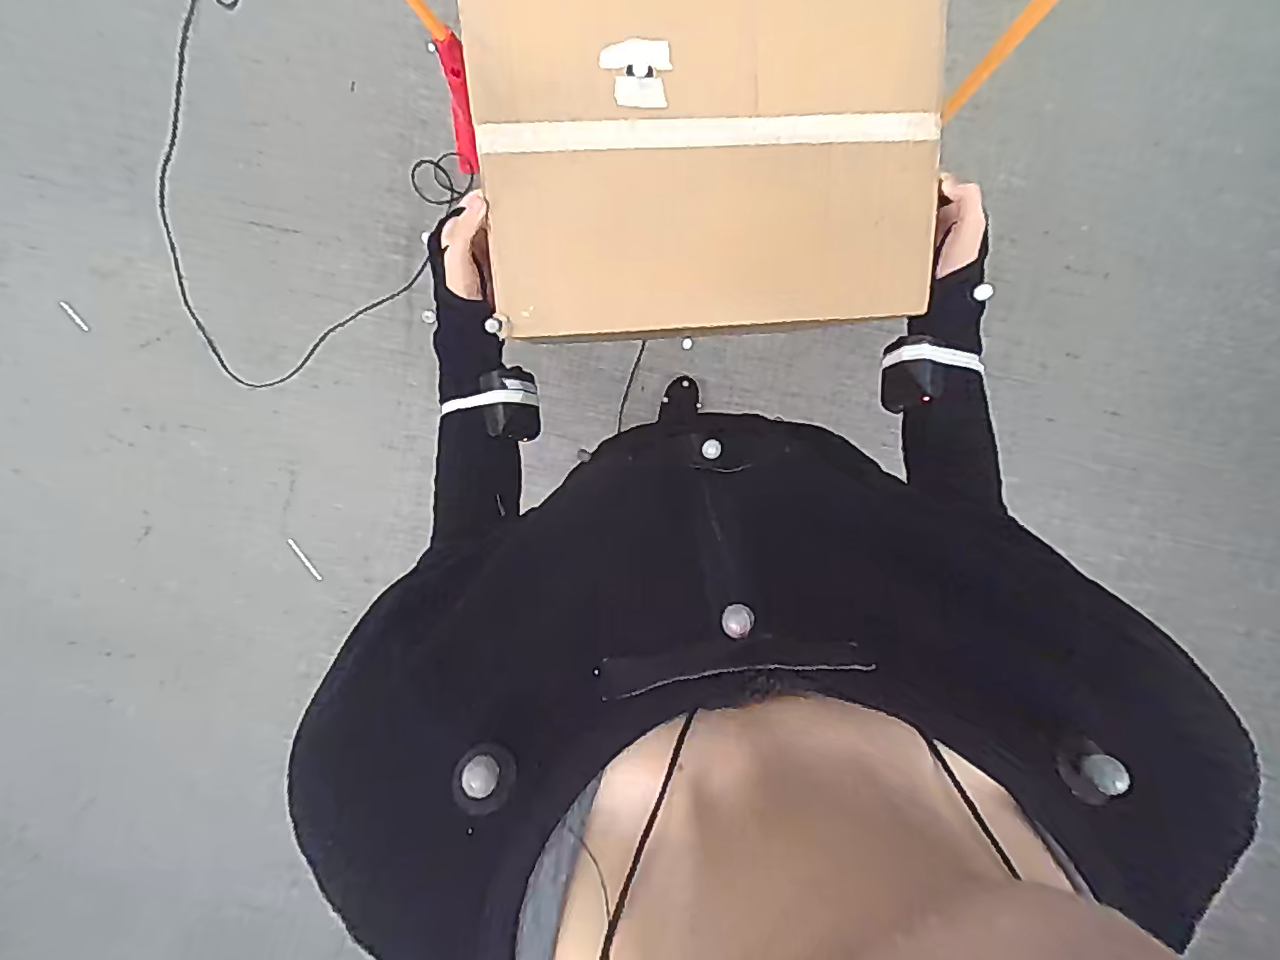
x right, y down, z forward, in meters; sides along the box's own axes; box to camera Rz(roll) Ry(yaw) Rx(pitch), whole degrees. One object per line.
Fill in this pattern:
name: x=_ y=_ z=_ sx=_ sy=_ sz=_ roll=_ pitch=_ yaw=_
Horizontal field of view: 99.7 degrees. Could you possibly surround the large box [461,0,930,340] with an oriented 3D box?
large box: x=0.048 y=-0.333 z=0.621 sx=0.408 sy=0.320 sz=0.320 roll=-5 pitch=103 yaw=-5
